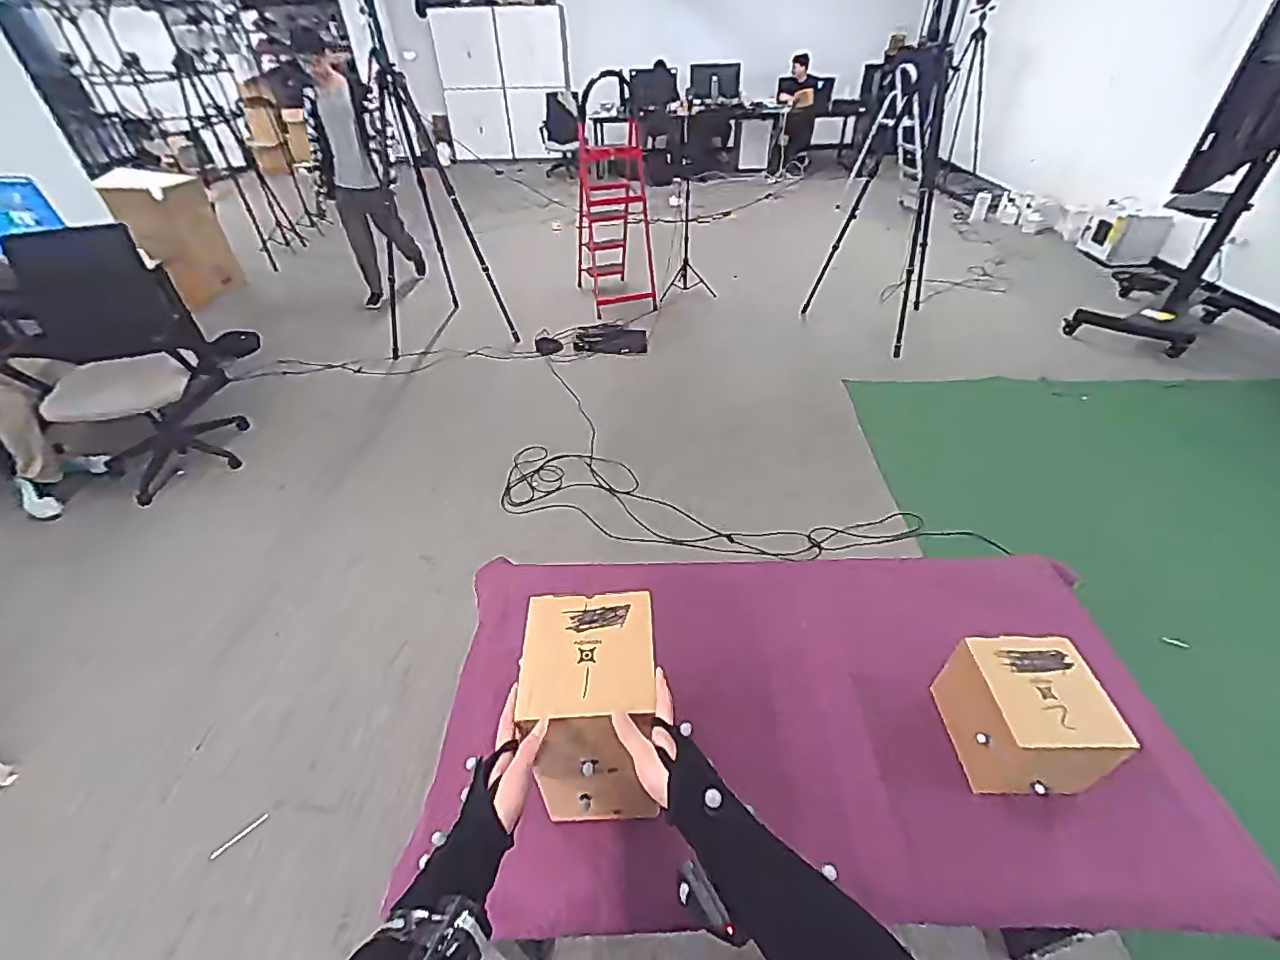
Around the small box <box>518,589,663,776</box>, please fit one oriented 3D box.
[{"bbox_3d":[-0.057,0.267,0.720,0.168,0.176,0.179,-3,41,0],"label":"small box"}]

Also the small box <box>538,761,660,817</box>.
[{"bbox_3d":[-0.055,0.399,0.835,0.168,0.176,0.179,-2,39,-1],"label":"small box"}]
